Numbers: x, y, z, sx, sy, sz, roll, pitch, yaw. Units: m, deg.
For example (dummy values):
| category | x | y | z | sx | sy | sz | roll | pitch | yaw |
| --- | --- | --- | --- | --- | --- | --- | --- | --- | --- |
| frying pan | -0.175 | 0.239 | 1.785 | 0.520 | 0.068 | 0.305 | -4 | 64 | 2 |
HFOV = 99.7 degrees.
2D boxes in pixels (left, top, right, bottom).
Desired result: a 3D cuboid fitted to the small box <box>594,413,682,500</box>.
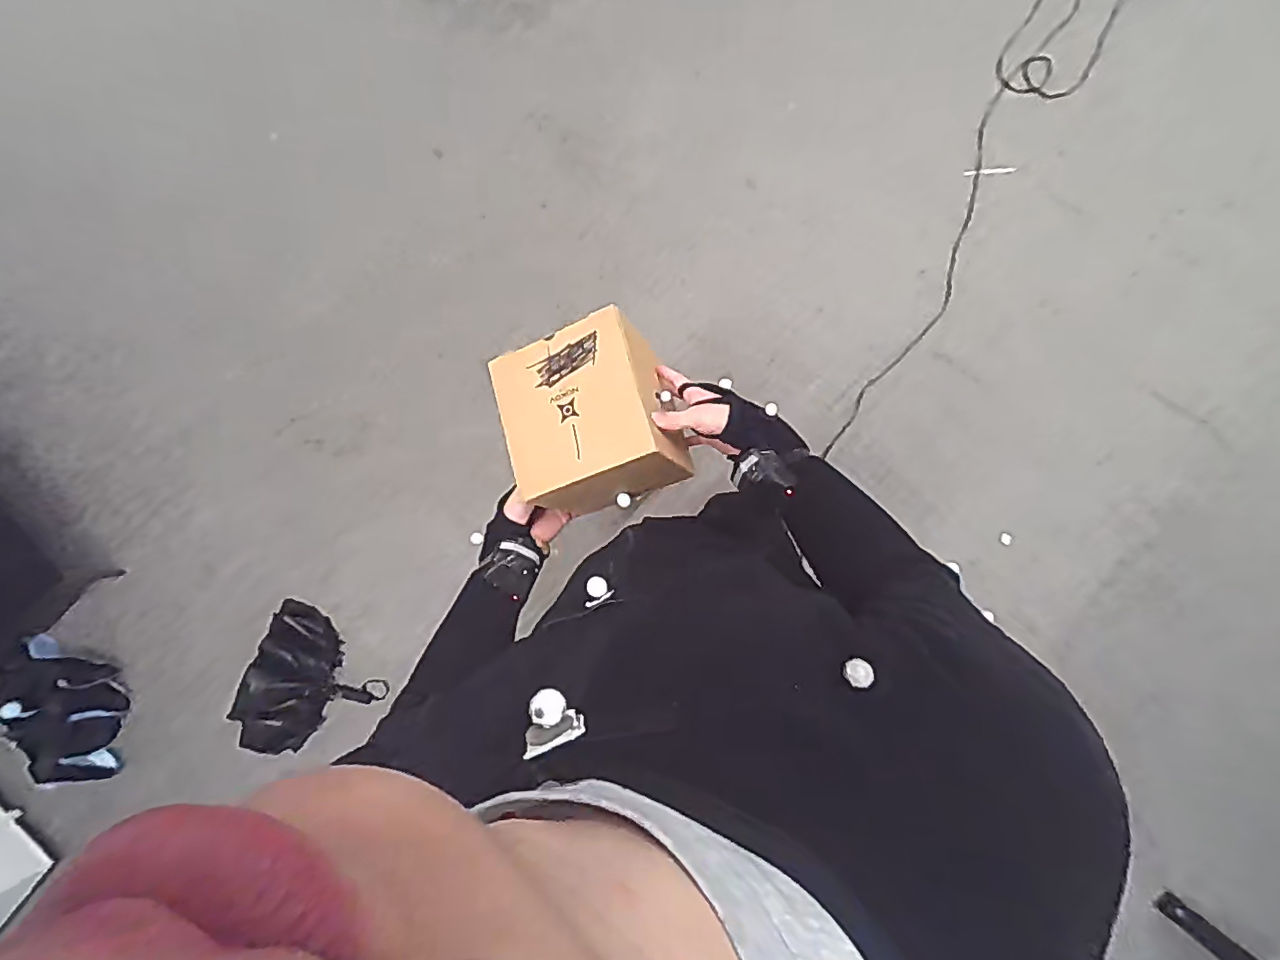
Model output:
| category | x | y | z | sx | sy | sz | roll | pitch | yaw |
| --- | --- | --- | --- | --- | --- | --- | --- | --- | --- |
| small box | -0.002 | -0.057 | 1.494 | 0.179 | 0.176 | 0.168 | 42 | 92 | 4 |
